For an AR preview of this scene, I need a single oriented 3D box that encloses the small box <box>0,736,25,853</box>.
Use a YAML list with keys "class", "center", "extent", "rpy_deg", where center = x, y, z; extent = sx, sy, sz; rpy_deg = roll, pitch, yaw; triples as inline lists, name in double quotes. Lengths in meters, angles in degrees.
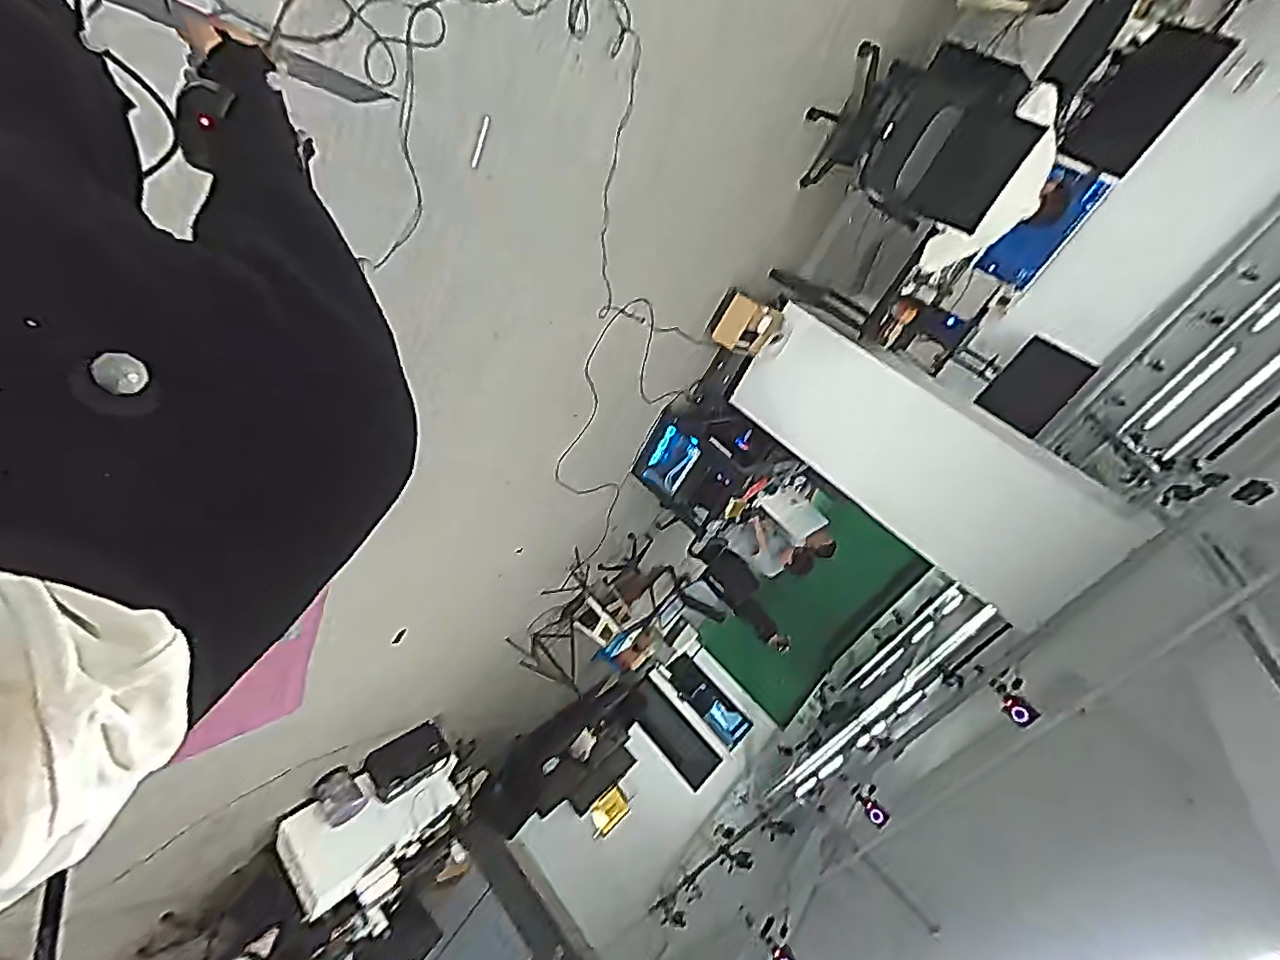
- class: "small box"
  center: [-1.143, 0.528, 0.866]
  extent: [0.179, 0.176, 0.168]
  rpy_deg: [-16, 144, -49]
